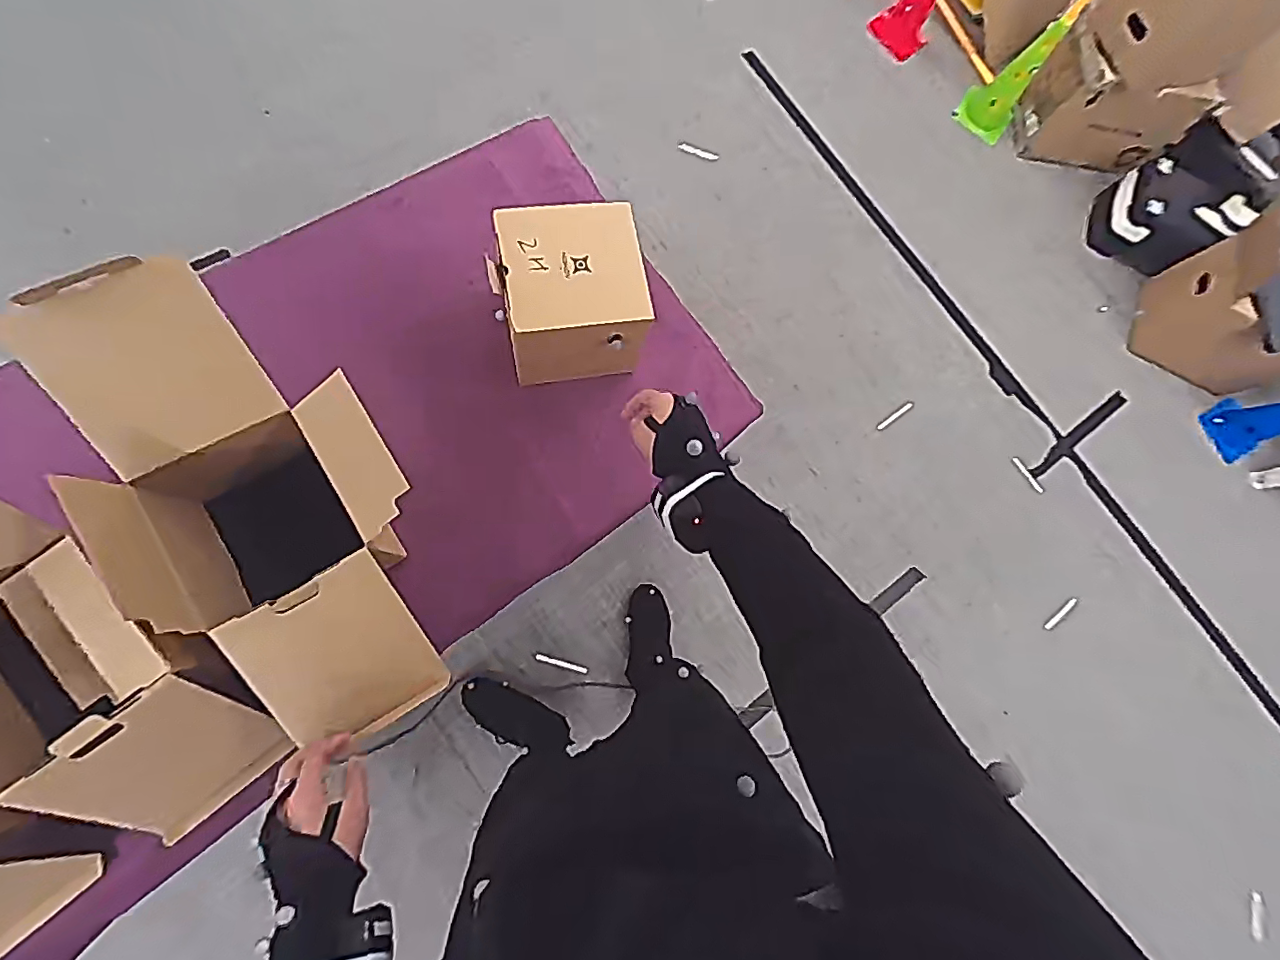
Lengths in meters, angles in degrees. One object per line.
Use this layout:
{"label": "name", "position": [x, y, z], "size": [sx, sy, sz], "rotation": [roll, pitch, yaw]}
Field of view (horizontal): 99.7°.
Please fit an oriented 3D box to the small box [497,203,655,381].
{"label": "small box", "position": [-0.092, -0.247, 0.737], "size": [0.179, 0.176, 0.168], "rotation": [-8, 80, -11]}
